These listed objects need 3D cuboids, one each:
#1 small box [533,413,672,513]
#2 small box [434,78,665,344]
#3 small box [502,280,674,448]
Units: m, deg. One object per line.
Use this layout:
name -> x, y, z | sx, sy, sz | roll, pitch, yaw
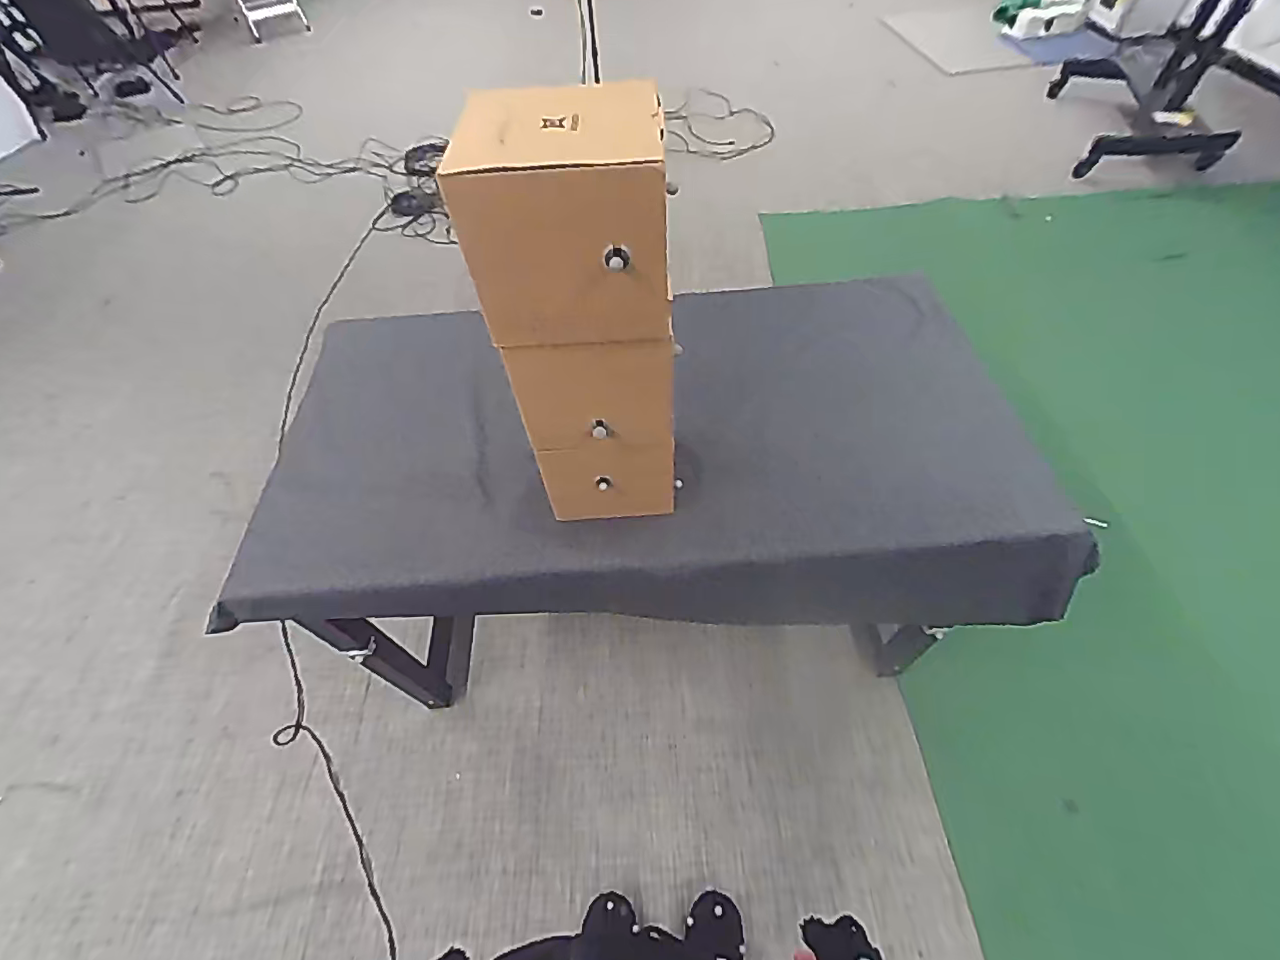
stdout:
small box -> -0.046, -0.066, 0.785 | 0.179, 0.176, 0.168 | -4, 54, 2
small box -> -0.066, -0.249, 0.516 | 0.179, 0.176, 0.168 | -4, 53, 3
small box -> -0.055, -0.156, 0.652 | 0.179, 0.176, 0.168 | -6, 56, 0
